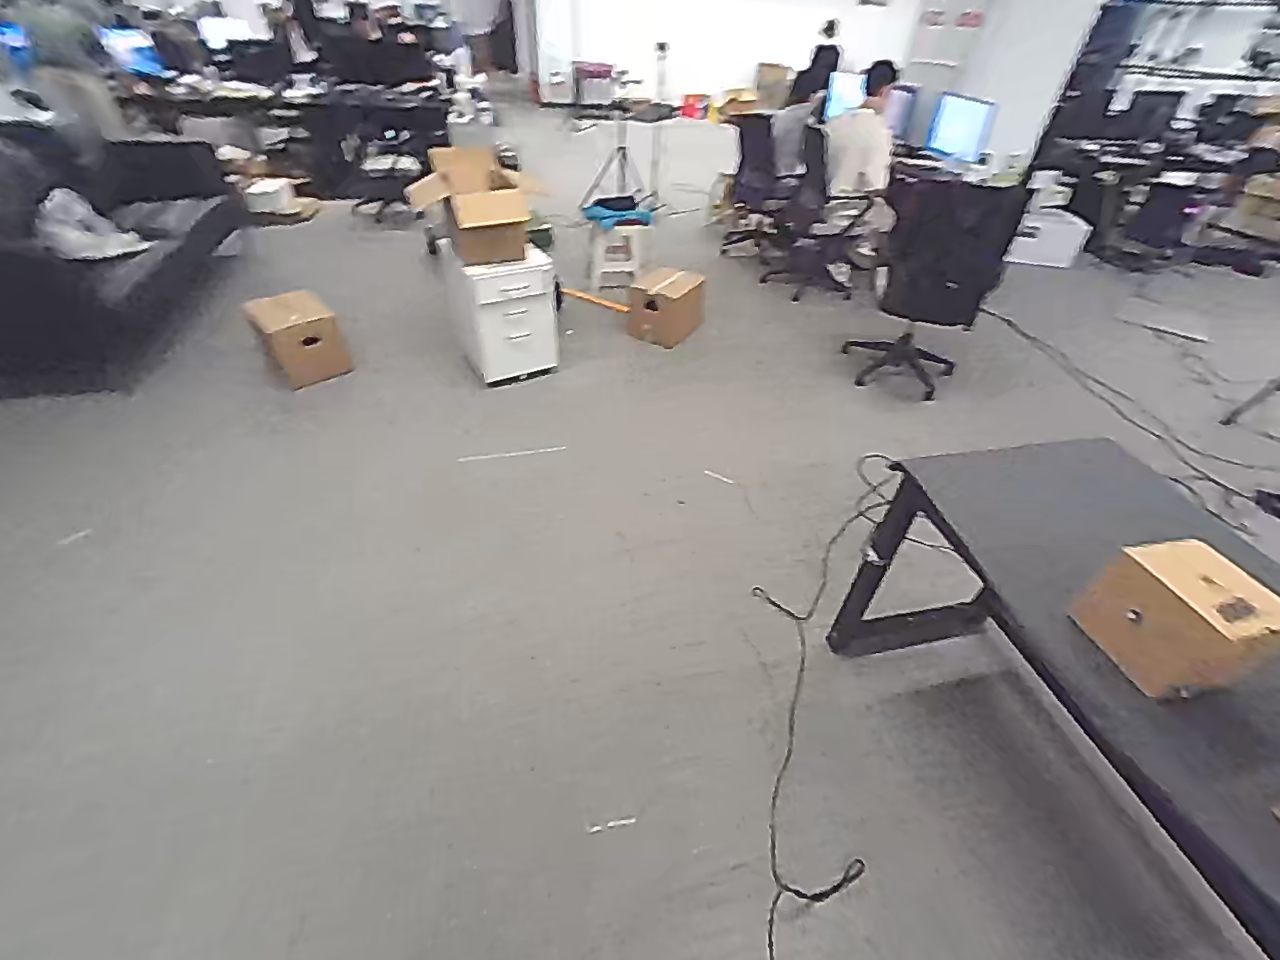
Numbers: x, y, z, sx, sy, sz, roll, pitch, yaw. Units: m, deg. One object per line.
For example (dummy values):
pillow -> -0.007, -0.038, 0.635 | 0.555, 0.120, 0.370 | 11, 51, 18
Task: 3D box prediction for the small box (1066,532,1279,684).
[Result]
small box -> 0.863, 0.211, 0.877 | 0.168, 0.176, 0.179 | -5, 39, -12
